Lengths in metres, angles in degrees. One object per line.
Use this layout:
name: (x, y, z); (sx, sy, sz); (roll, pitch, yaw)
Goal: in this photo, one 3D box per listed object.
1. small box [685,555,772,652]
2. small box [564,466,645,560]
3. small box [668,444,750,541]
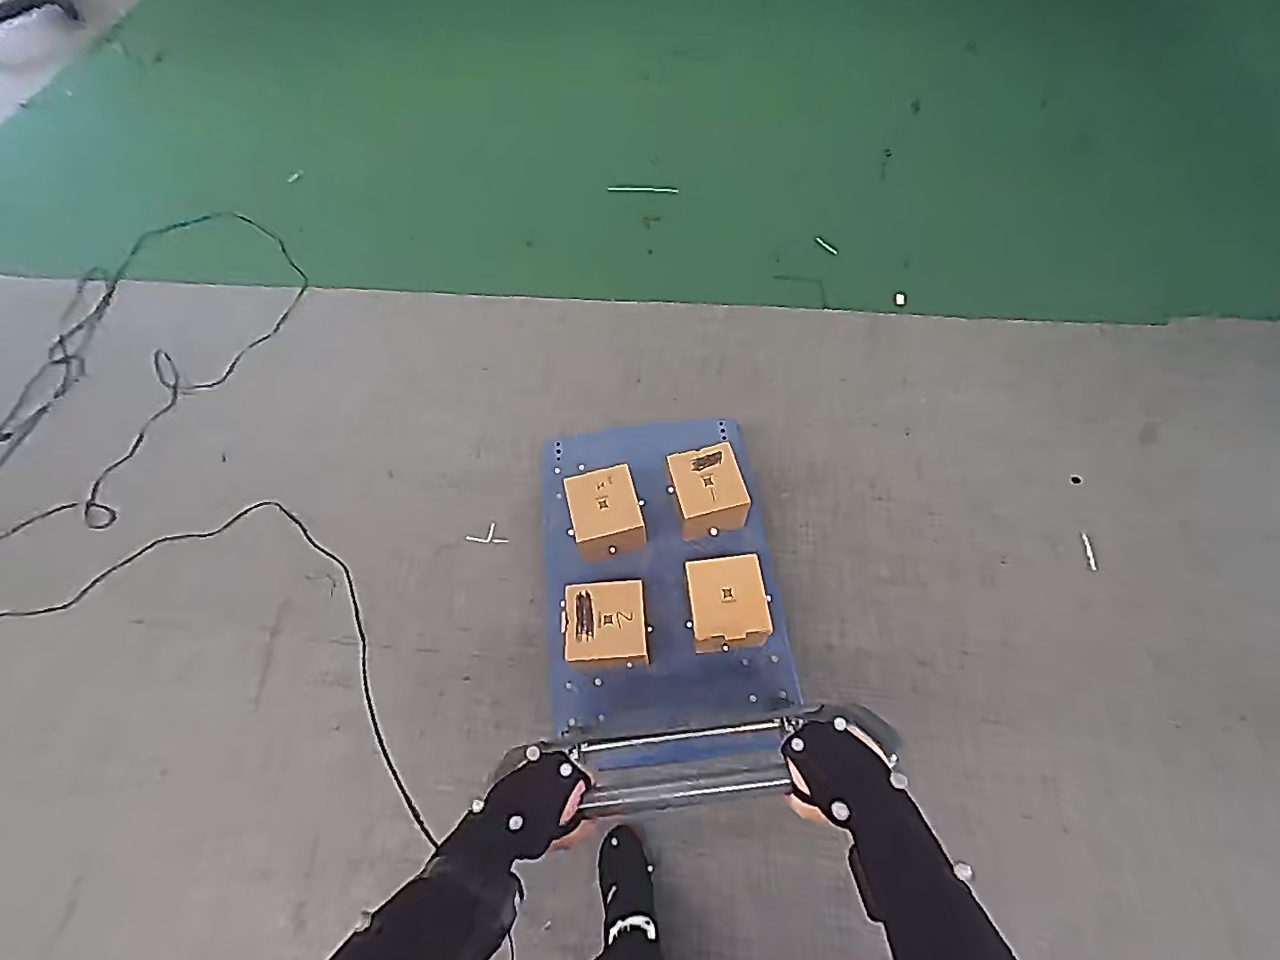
small box: (0.197, 0.291, 1.260); (0.168, 0.176, 0.179); (-7, 64, 0)
small box: (-0.086, 0.091, 1.374); (0.168, 0.176, 0.179); (-14, 63, -4)
small box: (0.168, 0.036, 1.388); (0.168, 0.176, 0.179); (-14, 64, -3)
